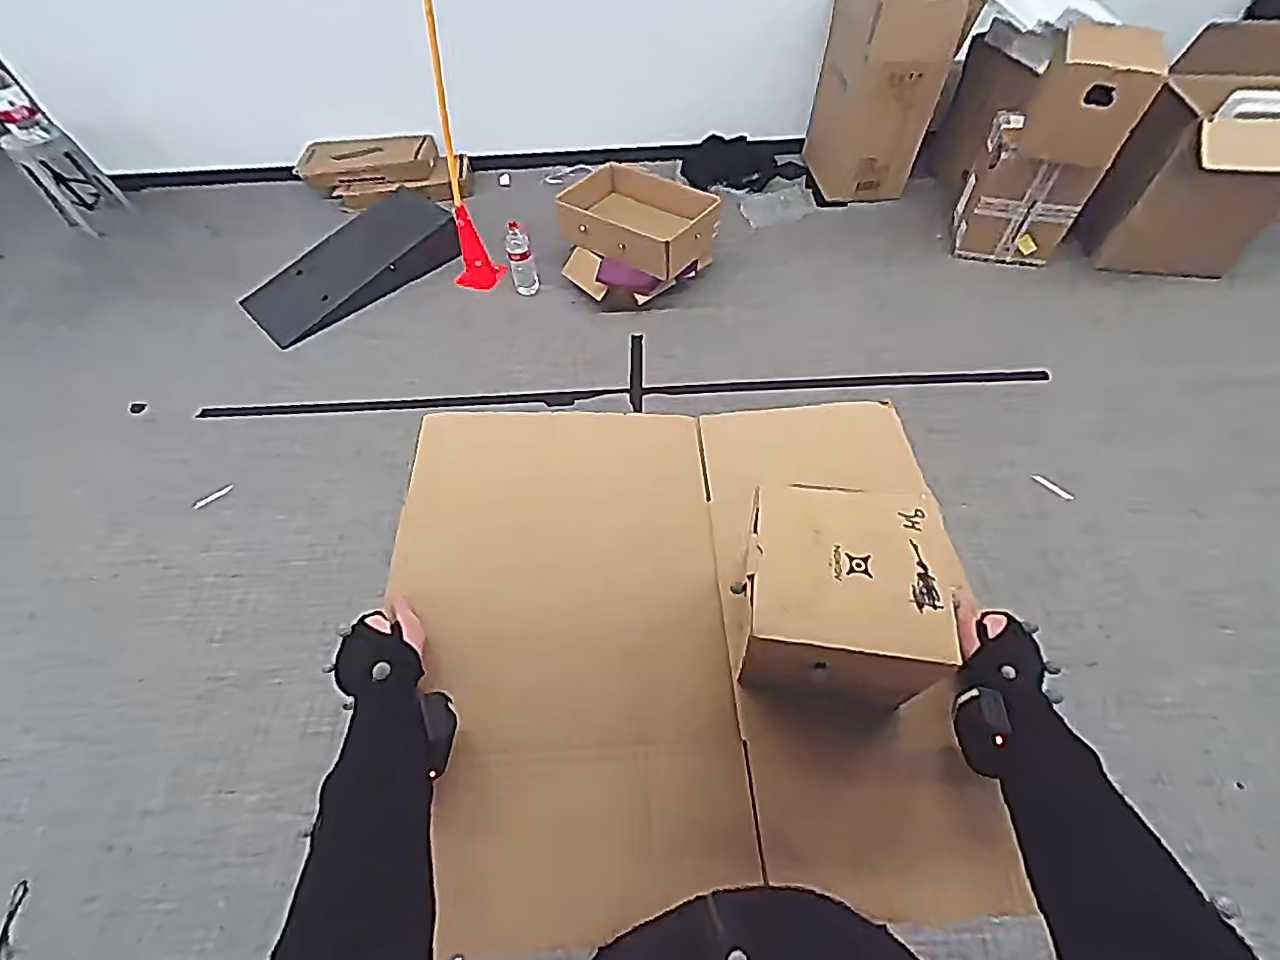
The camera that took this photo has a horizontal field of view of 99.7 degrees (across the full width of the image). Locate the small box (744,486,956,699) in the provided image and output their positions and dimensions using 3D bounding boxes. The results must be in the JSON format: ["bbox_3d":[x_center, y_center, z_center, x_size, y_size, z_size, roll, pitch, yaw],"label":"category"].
[{"bbox_3d":[0.206,0.124,0.579,0.179,0.176,0.168,5,57,10],"label":"small box"}]
